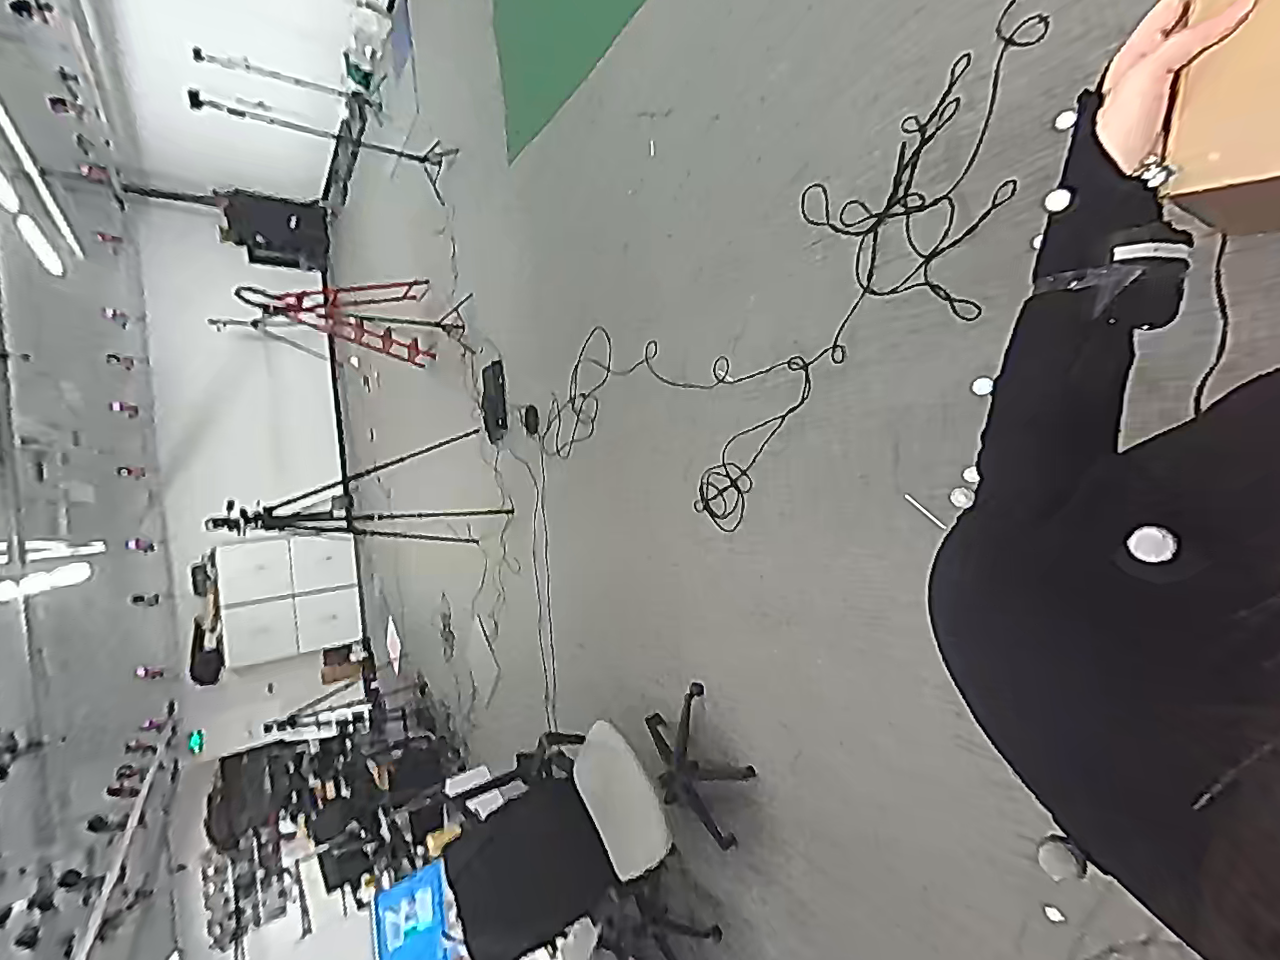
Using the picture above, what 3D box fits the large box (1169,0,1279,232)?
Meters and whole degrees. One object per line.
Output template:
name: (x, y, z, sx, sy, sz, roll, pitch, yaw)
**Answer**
large box: (0.619, -0.351, 0.293, 0.408, 0.320, 0.320, 14, 111, 53)
